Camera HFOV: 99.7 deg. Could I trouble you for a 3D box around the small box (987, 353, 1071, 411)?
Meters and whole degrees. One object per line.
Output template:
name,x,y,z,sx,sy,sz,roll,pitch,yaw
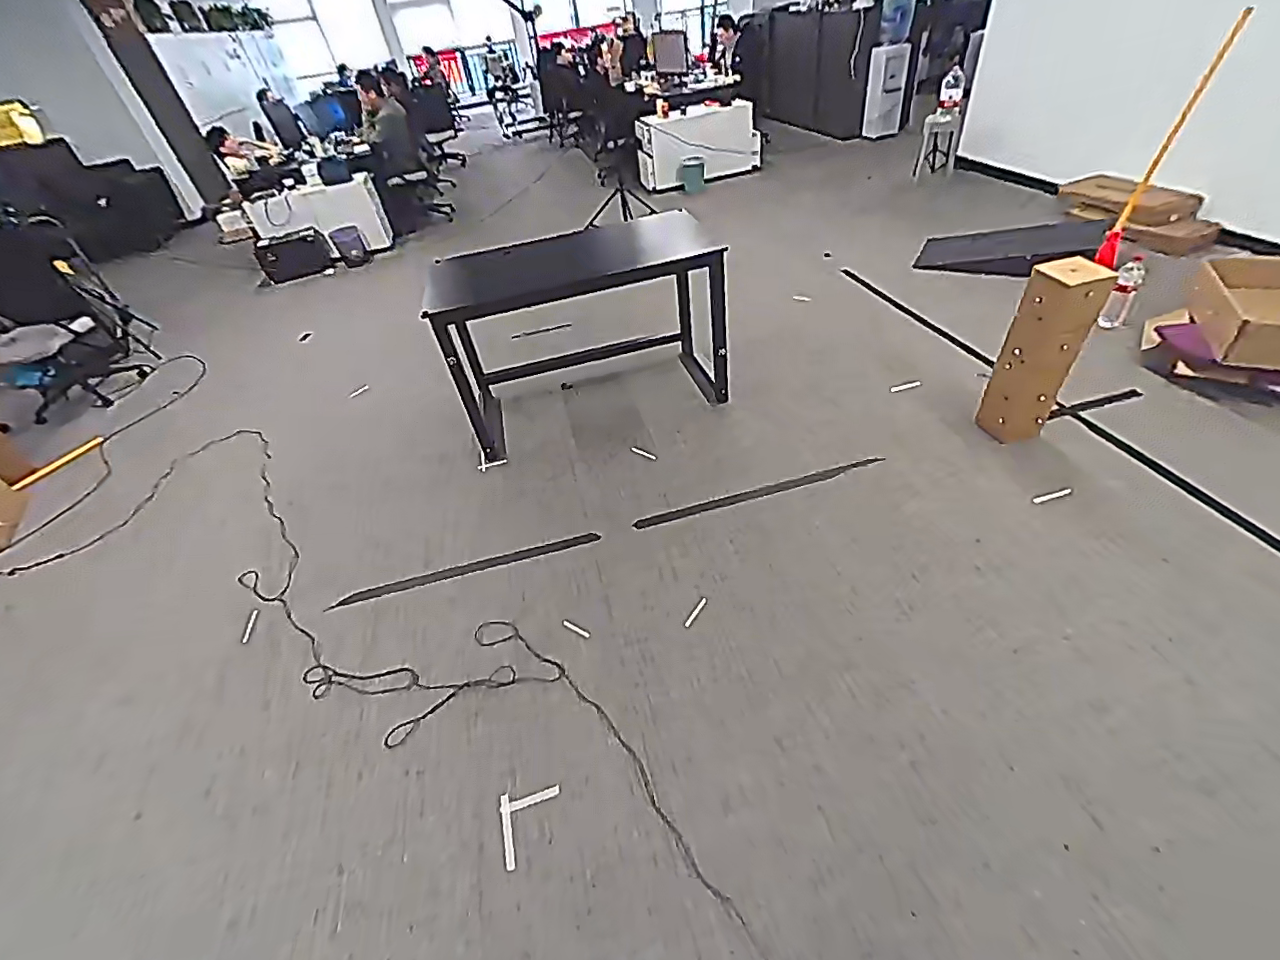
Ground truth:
small box,1.473,-0.390,2.062,0.179,0.176,0.168,-16,42,-7

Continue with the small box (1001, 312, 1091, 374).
small box,1.452,-0.508,1.948,0.179,0.176,0.168,-17,42,-7

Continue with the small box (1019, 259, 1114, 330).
small box,1.433,-0.626,1.835,0.179,0.176,0.168,-13,43,-4

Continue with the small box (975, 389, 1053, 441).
small box,1.496,-0.271,2.172,0.168,0.176,0.179,-15,41,-6
